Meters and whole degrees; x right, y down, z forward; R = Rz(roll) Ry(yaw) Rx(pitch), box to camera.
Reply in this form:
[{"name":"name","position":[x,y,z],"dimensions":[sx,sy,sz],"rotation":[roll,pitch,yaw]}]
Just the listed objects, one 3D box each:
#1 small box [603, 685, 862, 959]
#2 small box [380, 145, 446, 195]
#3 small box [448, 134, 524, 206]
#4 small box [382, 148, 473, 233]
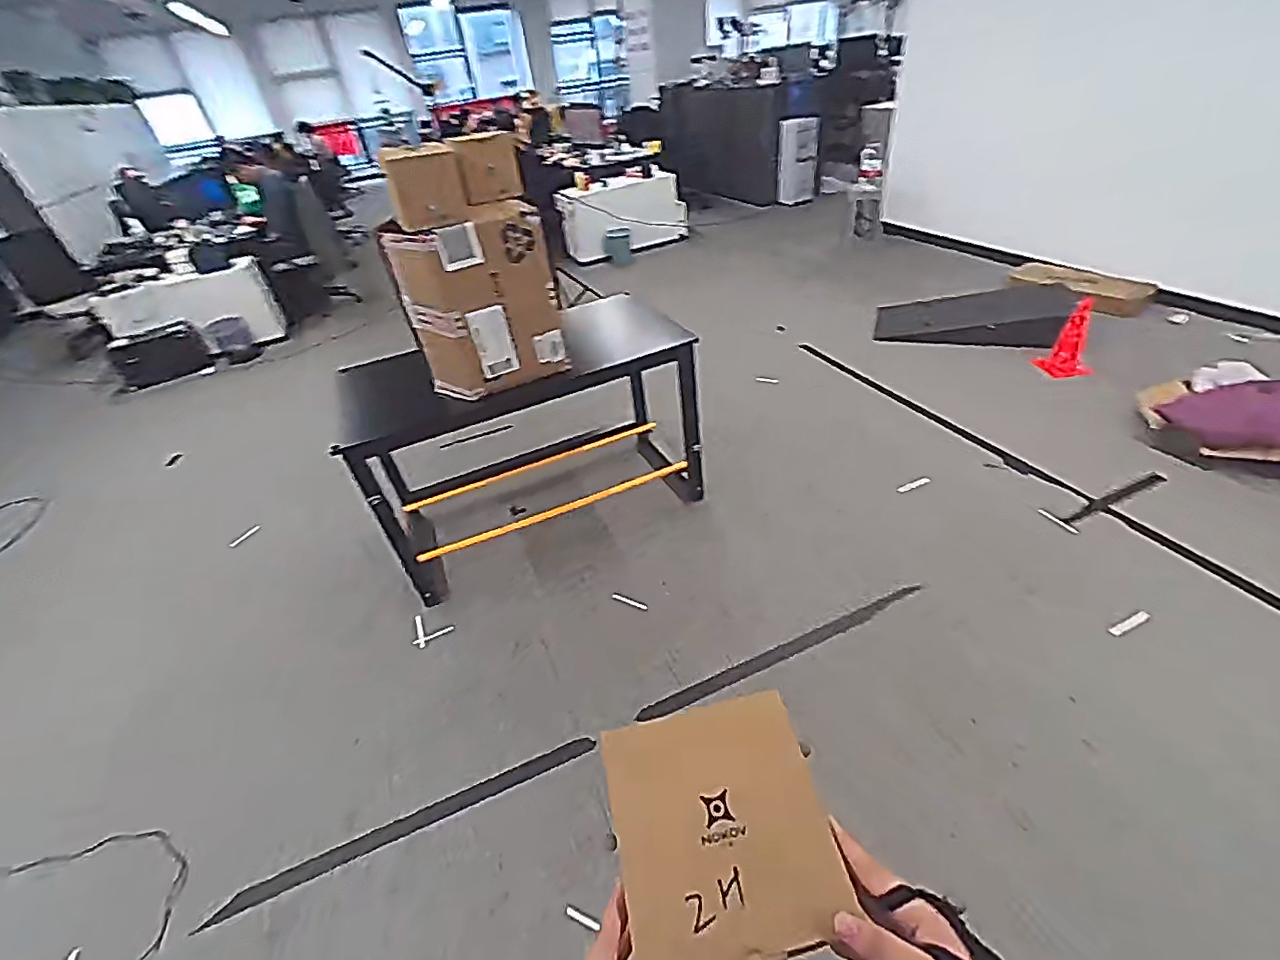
[{"name":"small box","position":[0.068,0.317,0.488],"dimensions":[0.168,0.176,0.179],"rotation":[-13,50,-4]},{"name":"small box","position":[-0.651,-0.886,1.610],"dimensions":[0.168,0.176,0.179],"rotation":[-24,39,-19]},{"name":"small box","position":[-0.471,-0.954,1.664],"dimensions":[0.168,0.176,0.179],"rotation":[-21,39,-19]},{"name":"small box","position":[-0.562,-0.768,1.435],"dimensions":[0.168,0.176,0.179],"rotation":[-22,42,-19]}]
